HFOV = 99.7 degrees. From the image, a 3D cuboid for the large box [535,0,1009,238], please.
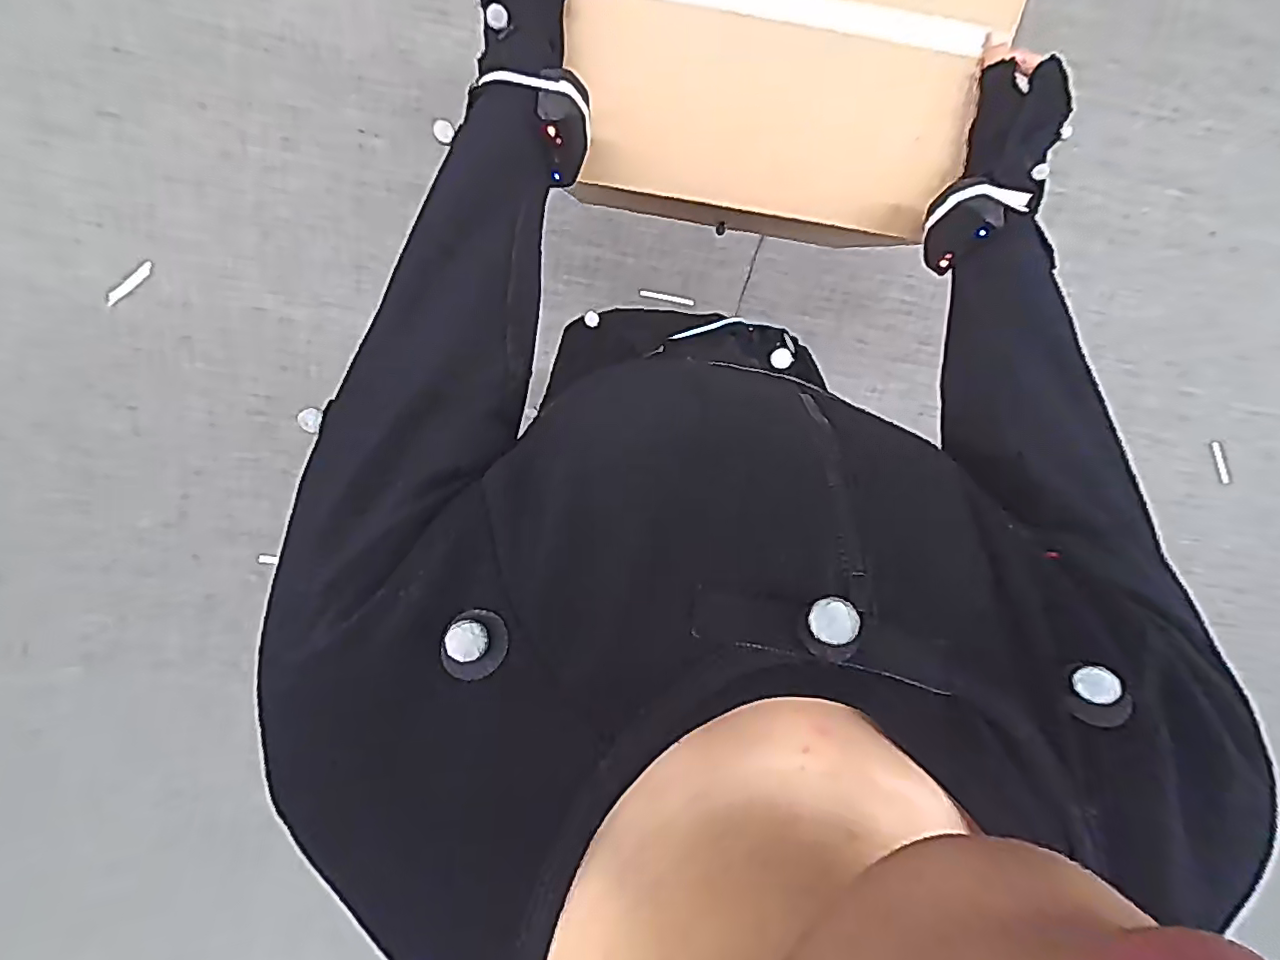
[{"bbox_3d":[0.122,-0.470,0.609,0.408,0.320,0.320,10,112,-2],"label":"large box"}]
